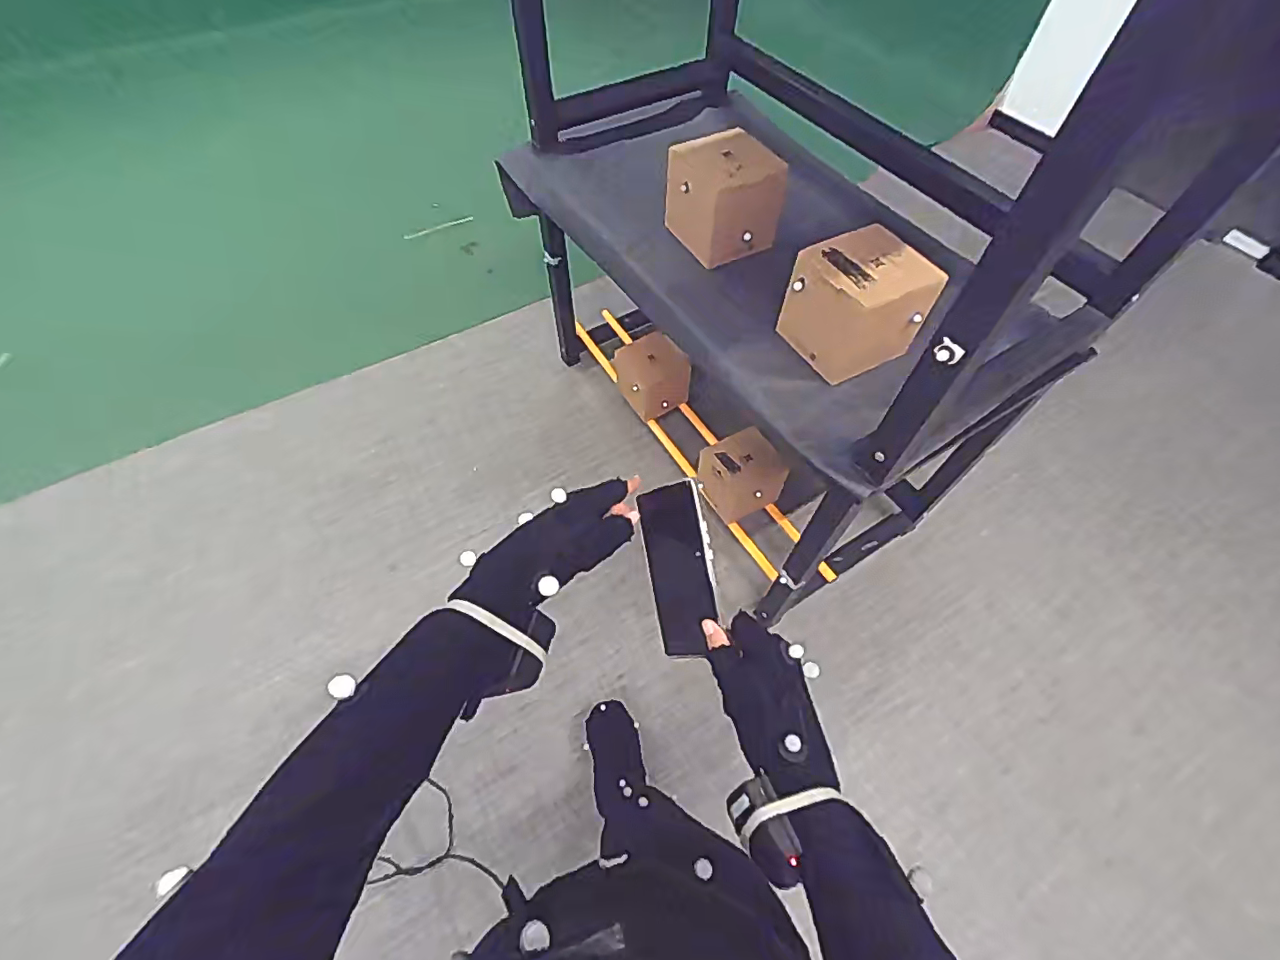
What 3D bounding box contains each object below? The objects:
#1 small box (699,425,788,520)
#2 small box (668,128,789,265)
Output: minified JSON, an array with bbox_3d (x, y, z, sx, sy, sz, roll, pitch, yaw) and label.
[{"bbox_3d":[0.275,-0.016,1.487,0.179,0.176,0.168,-25,62,-15],"label":"small box"},{"bbox_3d":[0.168,-0.573,1.100,0.168,0.176,0.179,-25,62,-15],"label":"small box"}]
